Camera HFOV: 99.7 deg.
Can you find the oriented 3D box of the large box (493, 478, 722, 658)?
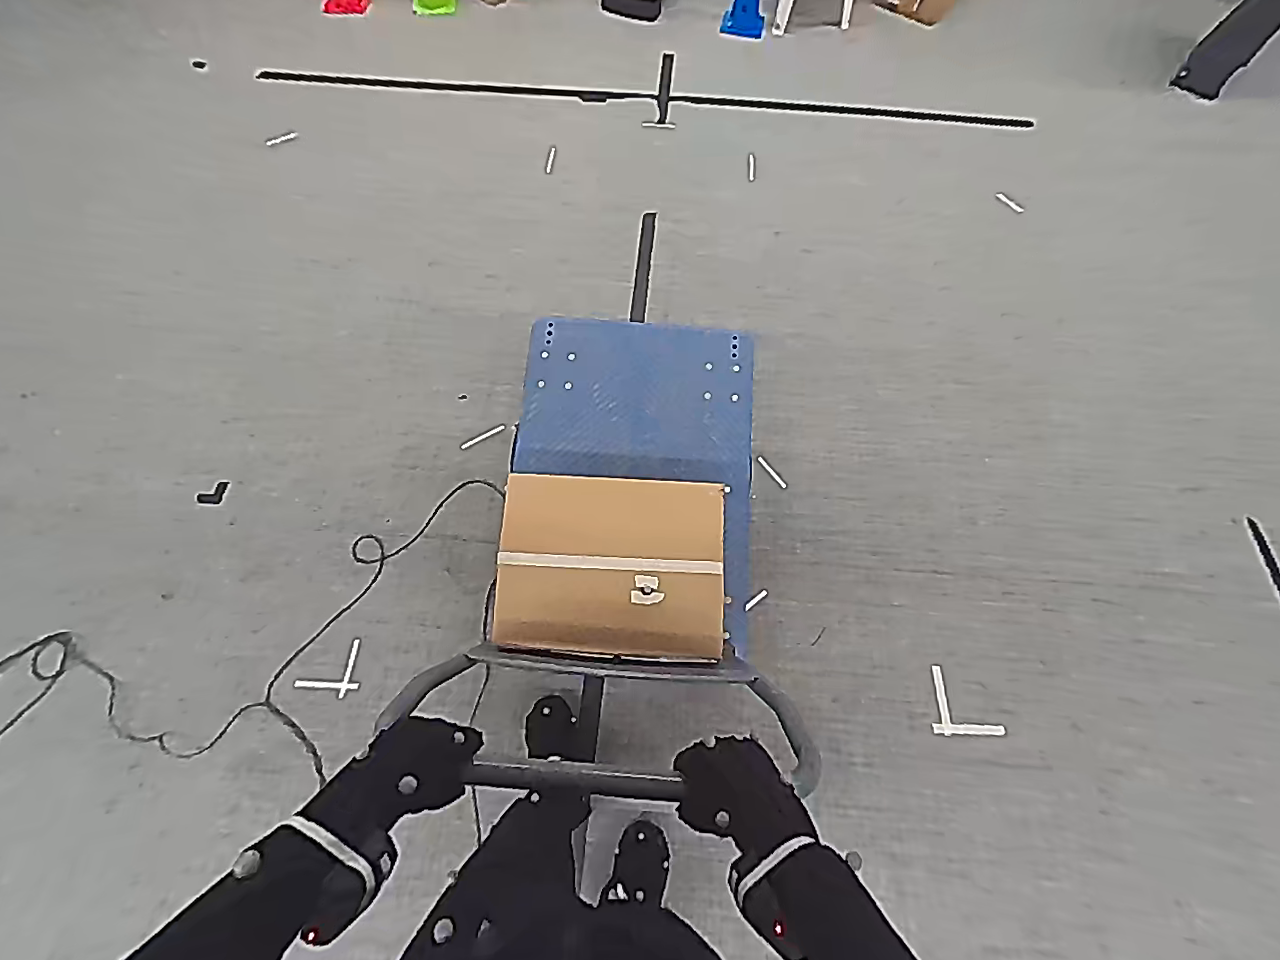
[{"bbox_3d":[-0.057,0.188,1.111,0.408,0.320,0.320,3,77,-1],"label":"large box"}]
